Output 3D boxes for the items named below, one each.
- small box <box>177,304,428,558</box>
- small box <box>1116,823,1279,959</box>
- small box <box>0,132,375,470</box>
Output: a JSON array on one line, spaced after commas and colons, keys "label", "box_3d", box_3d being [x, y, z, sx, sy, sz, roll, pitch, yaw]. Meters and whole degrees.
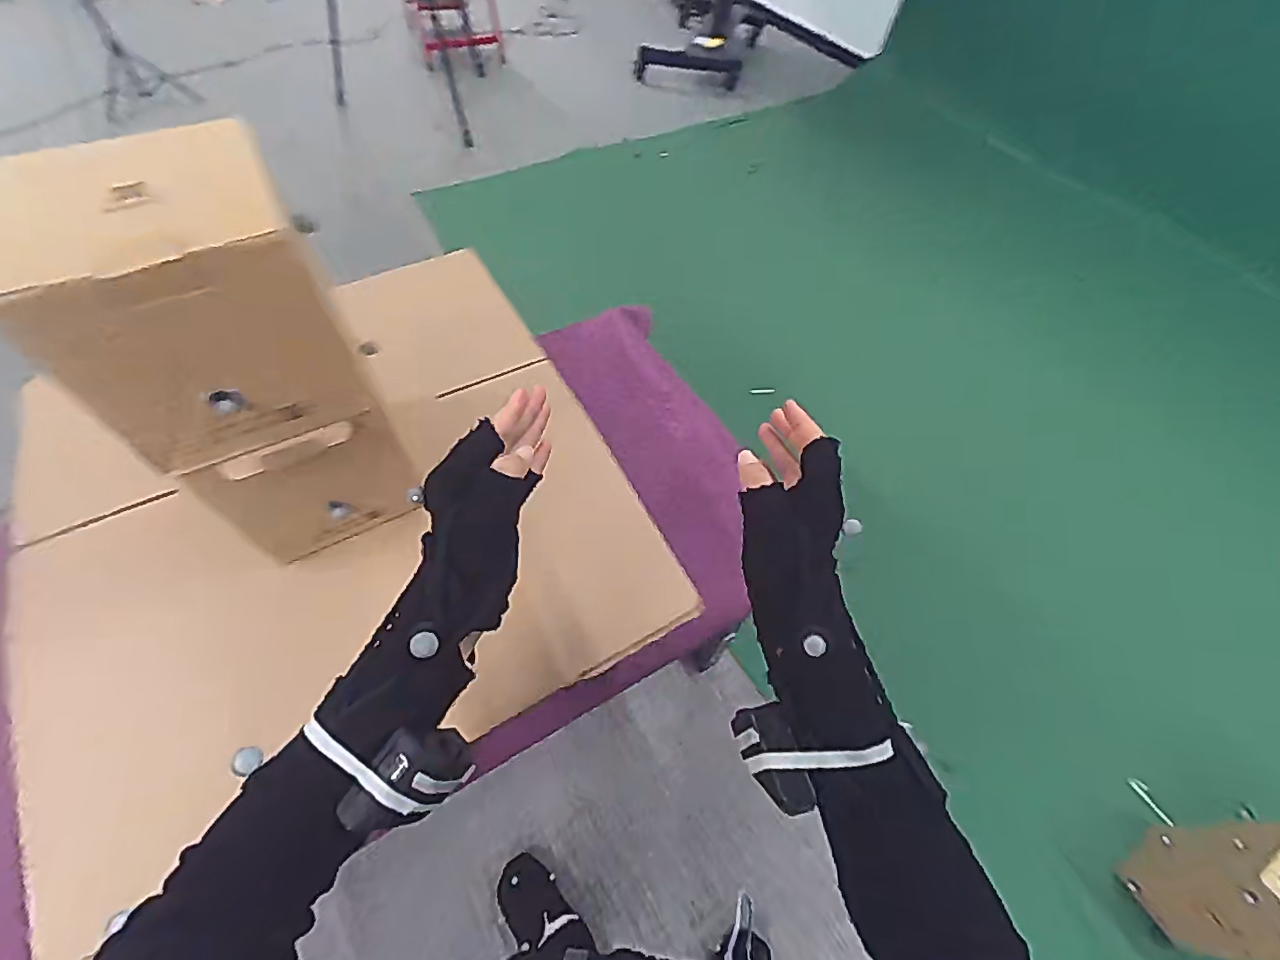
[{"label": "small box", "box_3d": [-0.349, -0.050, 0.570, 0.168, 0.176, 0.179, -25, 61, -18]}, {"label": "small box", "box_3d": [1.186, 0.869, 1.158, 0.179, 0.176, 0.168, -24, 62, -19]}, {"label": "small box", "box_3d": [-0.342, -0.141, 0.434, 0.168, 0.176, 0.179, -25, 61, -19]}]
